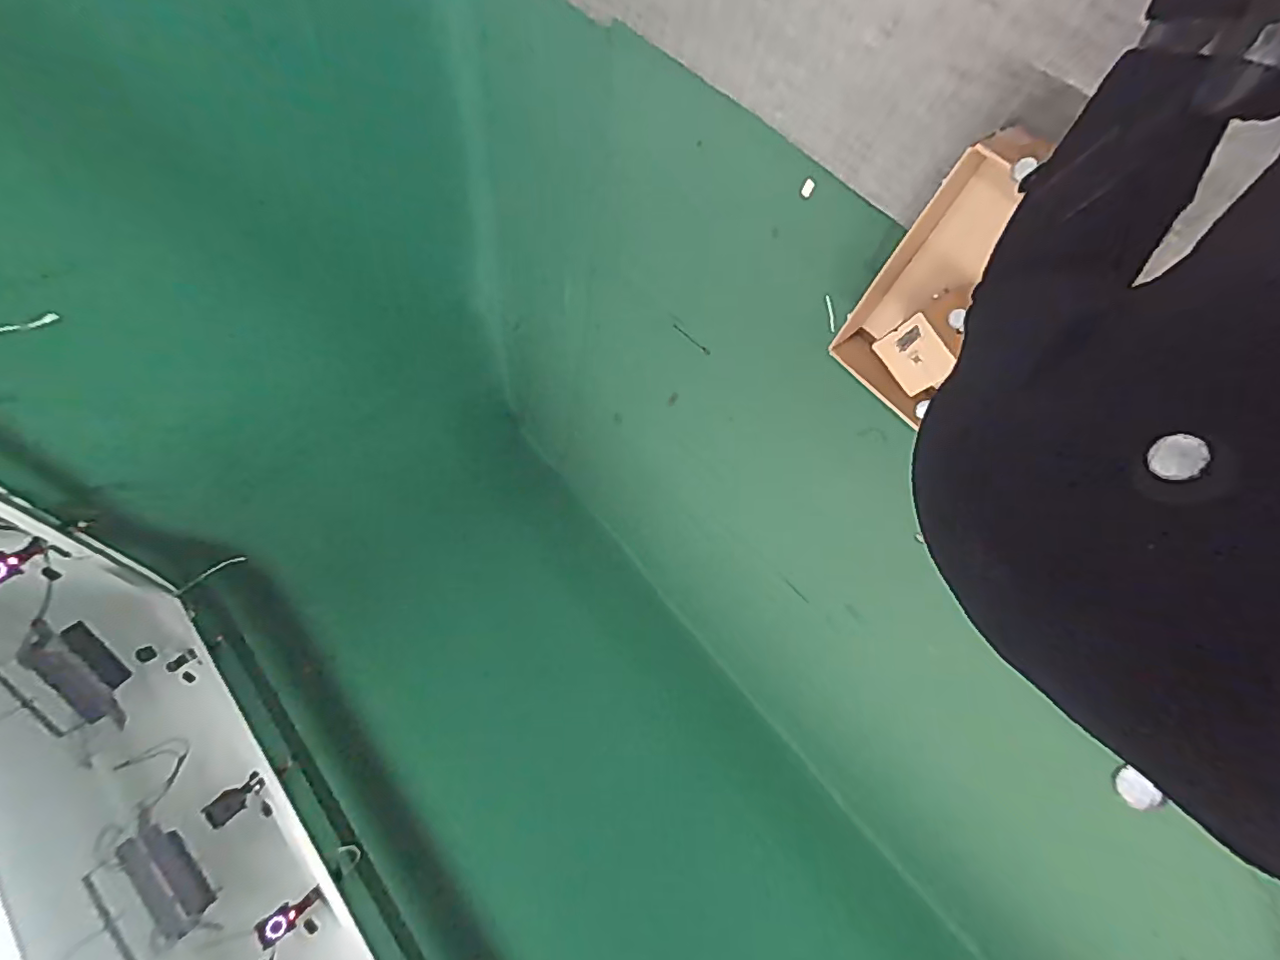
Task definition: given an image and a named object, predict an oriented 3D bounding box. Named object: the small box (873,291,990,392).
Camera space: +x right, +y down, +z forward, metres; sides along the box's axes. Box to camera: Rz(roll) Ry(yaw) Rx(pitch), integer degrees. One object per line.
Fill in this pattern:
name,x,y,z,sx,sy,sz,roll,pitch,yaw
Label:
small box,0.754,-0.365,1.402,0.179,0.176,0.168,55,153,2
